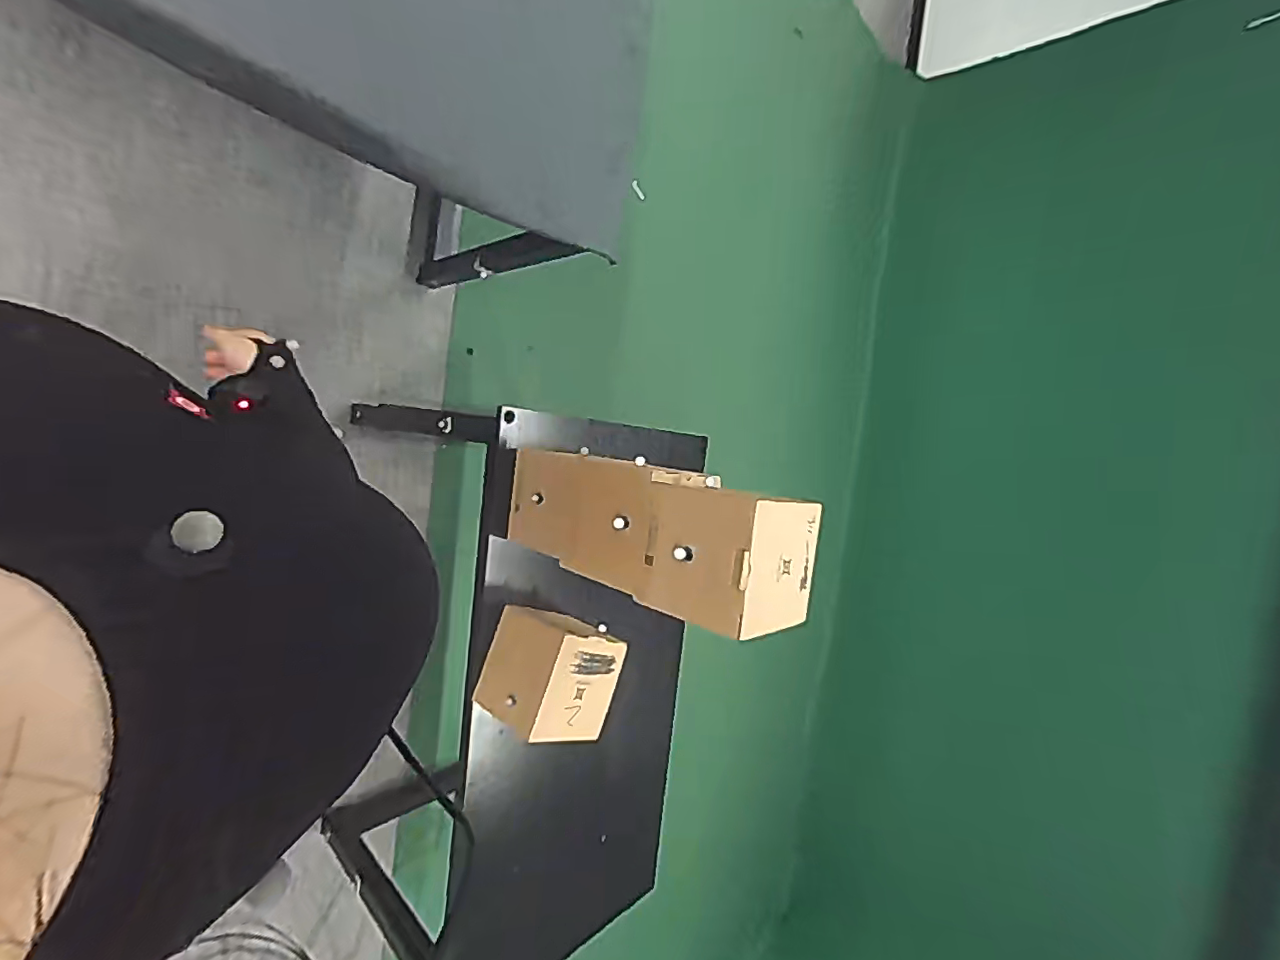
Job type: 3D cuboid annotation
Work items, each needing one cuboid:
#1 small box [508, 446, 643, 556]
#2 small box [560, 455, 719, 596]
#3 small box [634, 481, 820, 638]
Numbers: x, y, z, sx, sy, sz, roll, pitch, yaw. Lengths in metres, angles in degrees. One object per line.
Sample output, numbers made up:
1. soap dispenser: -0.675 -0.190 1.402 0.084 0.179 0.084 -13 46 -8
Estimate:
1. small box: -0.110 0.034 0.950 0.179 0.176 0.168 4 96 -48
2. small box: -0.004 0.063 0.830 0.168 0.176 0.179 4 95 -47
3. small box: 0.113 0.096 0.719 0.179 0.176 0.168 6 93 -47
